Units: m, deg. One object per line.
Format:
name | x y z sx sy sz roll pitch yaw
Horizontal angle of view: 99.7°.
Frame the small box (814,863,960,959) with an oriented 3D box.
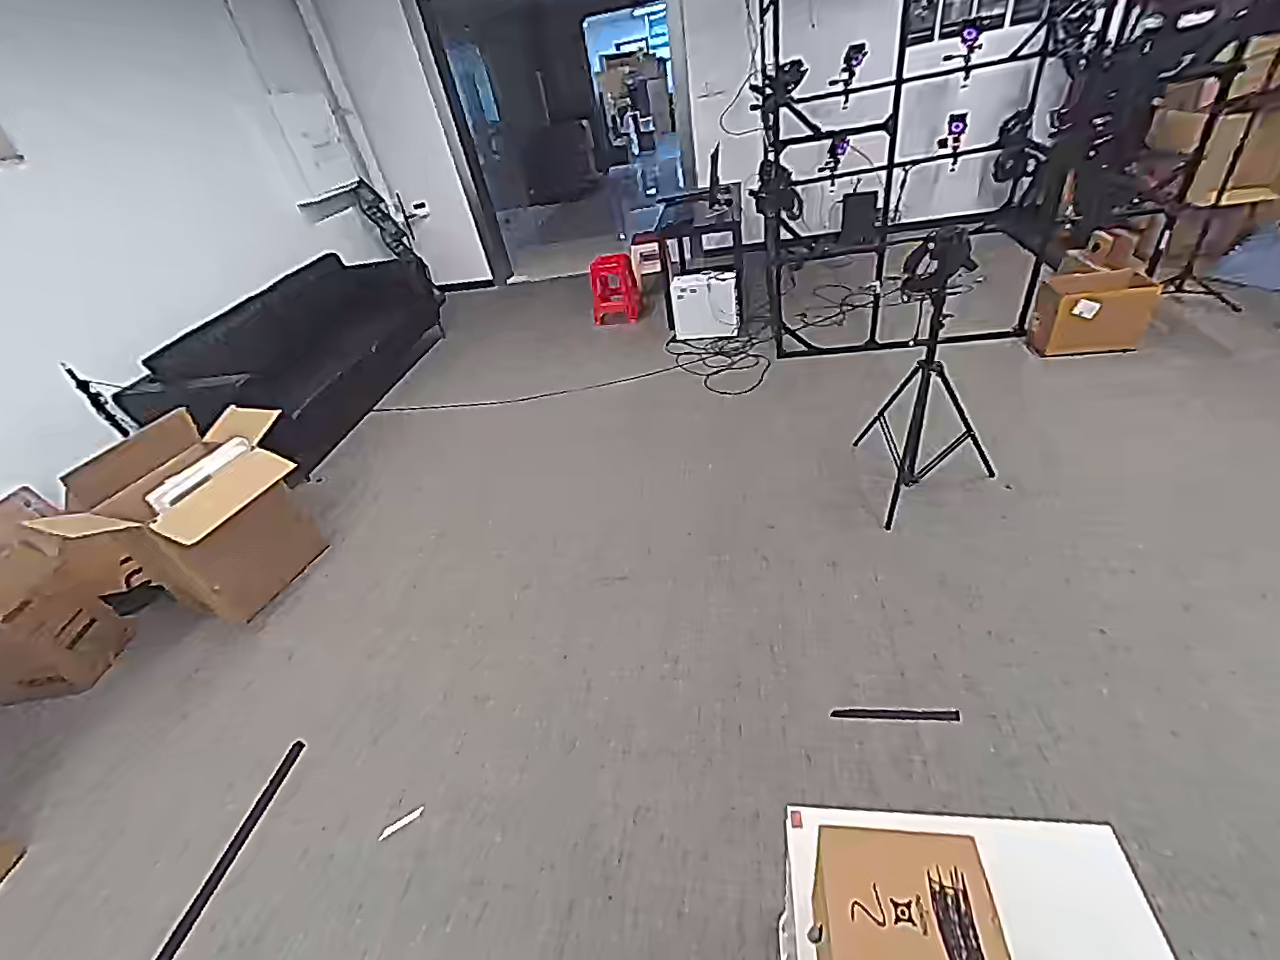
small box | 0.329 0.656 0.731 0.168 0.176 0.179 -2 38 12
